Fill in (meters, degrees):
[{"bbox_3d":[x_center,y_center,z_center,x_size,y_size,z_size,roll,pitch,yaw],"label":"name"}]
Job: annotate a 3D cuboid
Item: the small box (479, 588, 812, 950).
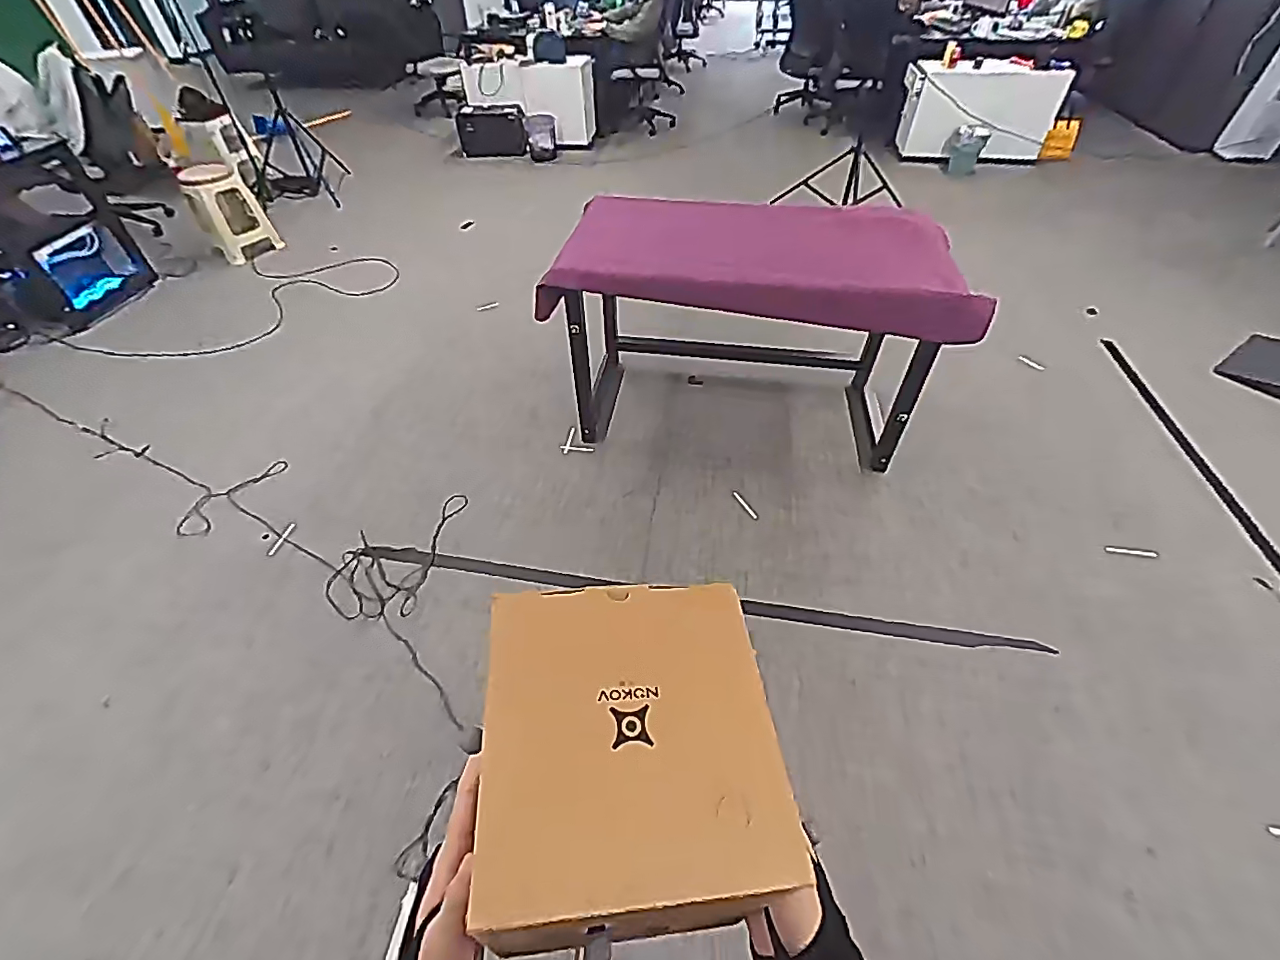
[{"bbox_3d":[-0.009,0.197,0.371,0.168,0.176,0.179,-1,44,-9],"label":"small box"}]
